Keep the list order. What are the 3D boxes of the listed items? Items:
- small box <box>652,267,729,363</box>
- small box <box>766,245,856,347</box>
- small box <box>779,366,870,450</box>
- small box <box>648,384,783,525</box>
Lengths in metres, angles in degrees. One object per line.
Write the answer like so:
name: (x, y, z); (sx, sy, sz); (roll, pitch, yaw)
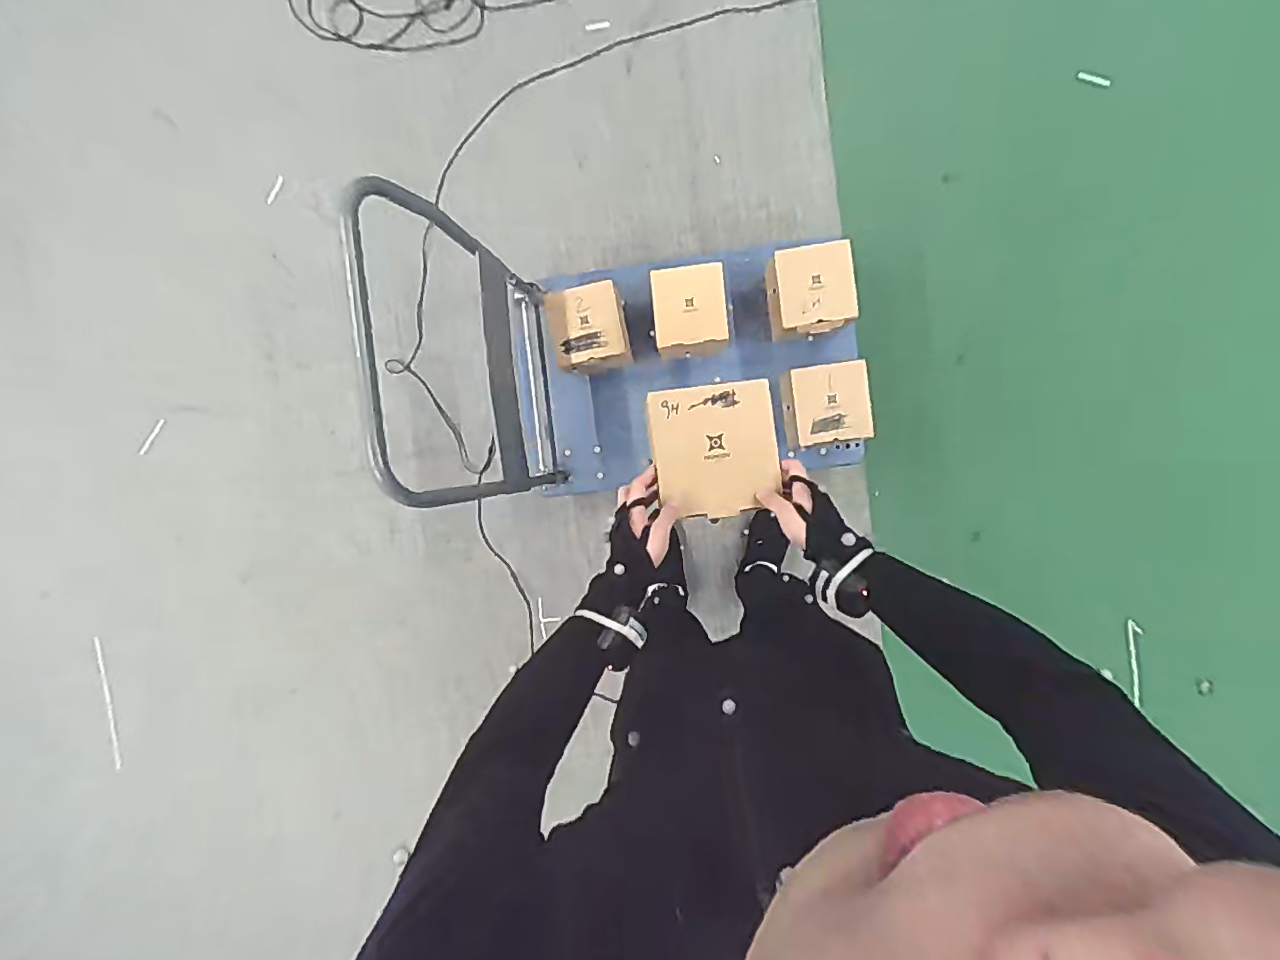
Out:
small box: (0.121, -0.393, 1.313); (0.168, 0.176, 0.179); (-6, 93, 6)
small box: (0.397, -0.428, 1.280); (0.168, 0.176, 0.179); (-7, 91, 7)
small box: (0.437, -0.165, 1.302); (0.168, 0.176, 0.179); (-7, 90, 6)
small box: (0.101, -0.033, 0.795); (0.168, 0.176, 0.179); (-6, 88, -1)
